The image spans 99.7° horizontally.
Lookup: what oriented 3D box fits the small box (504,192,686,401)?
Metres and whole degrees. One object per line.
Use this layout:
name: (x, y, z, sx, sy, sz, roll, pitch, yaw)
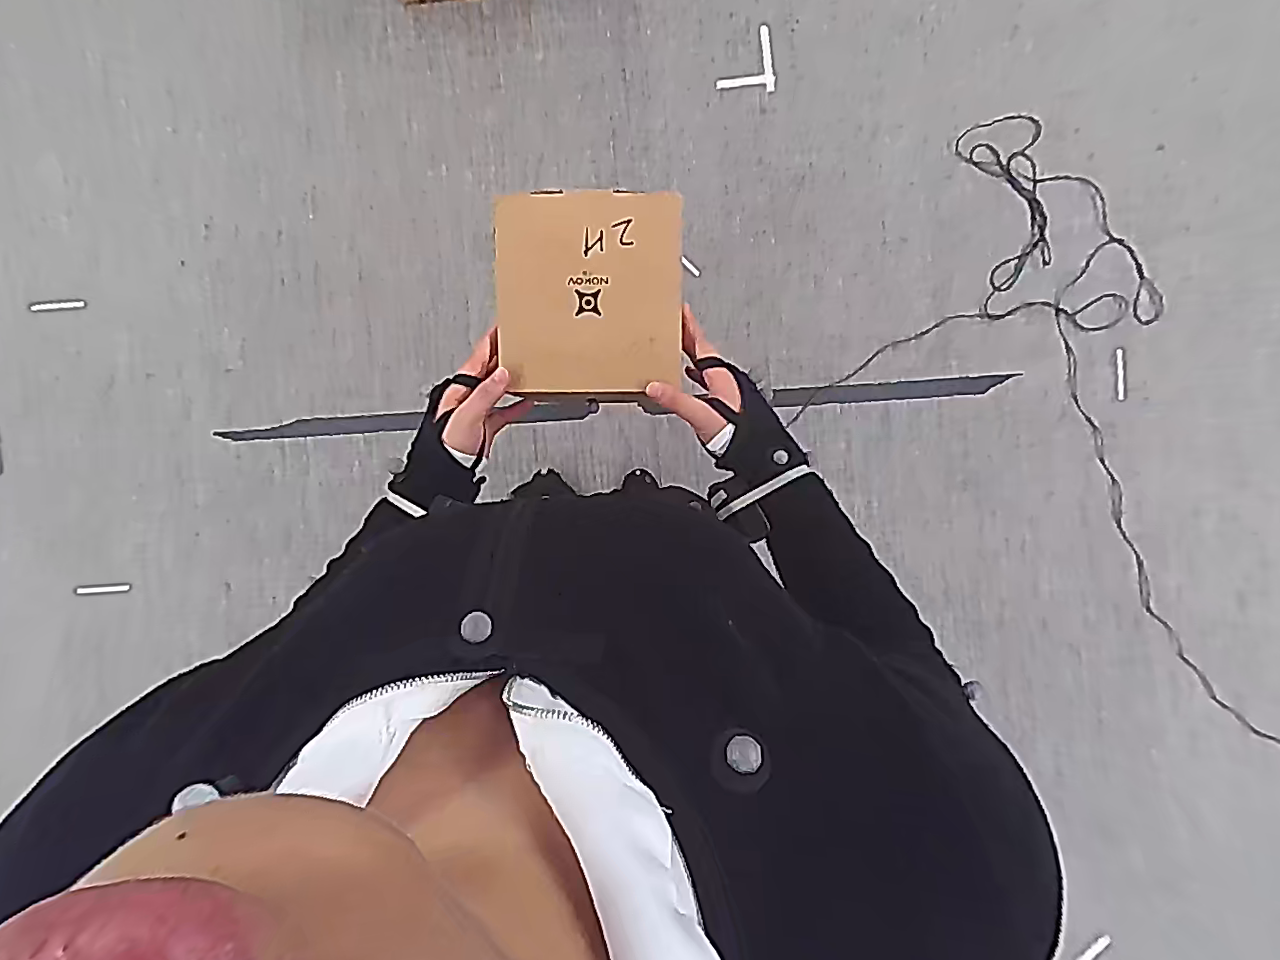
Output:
small box: (-0.040, -0.175, 0.566, 0.168, 0.176, 0.179, 0, 94, 0)
